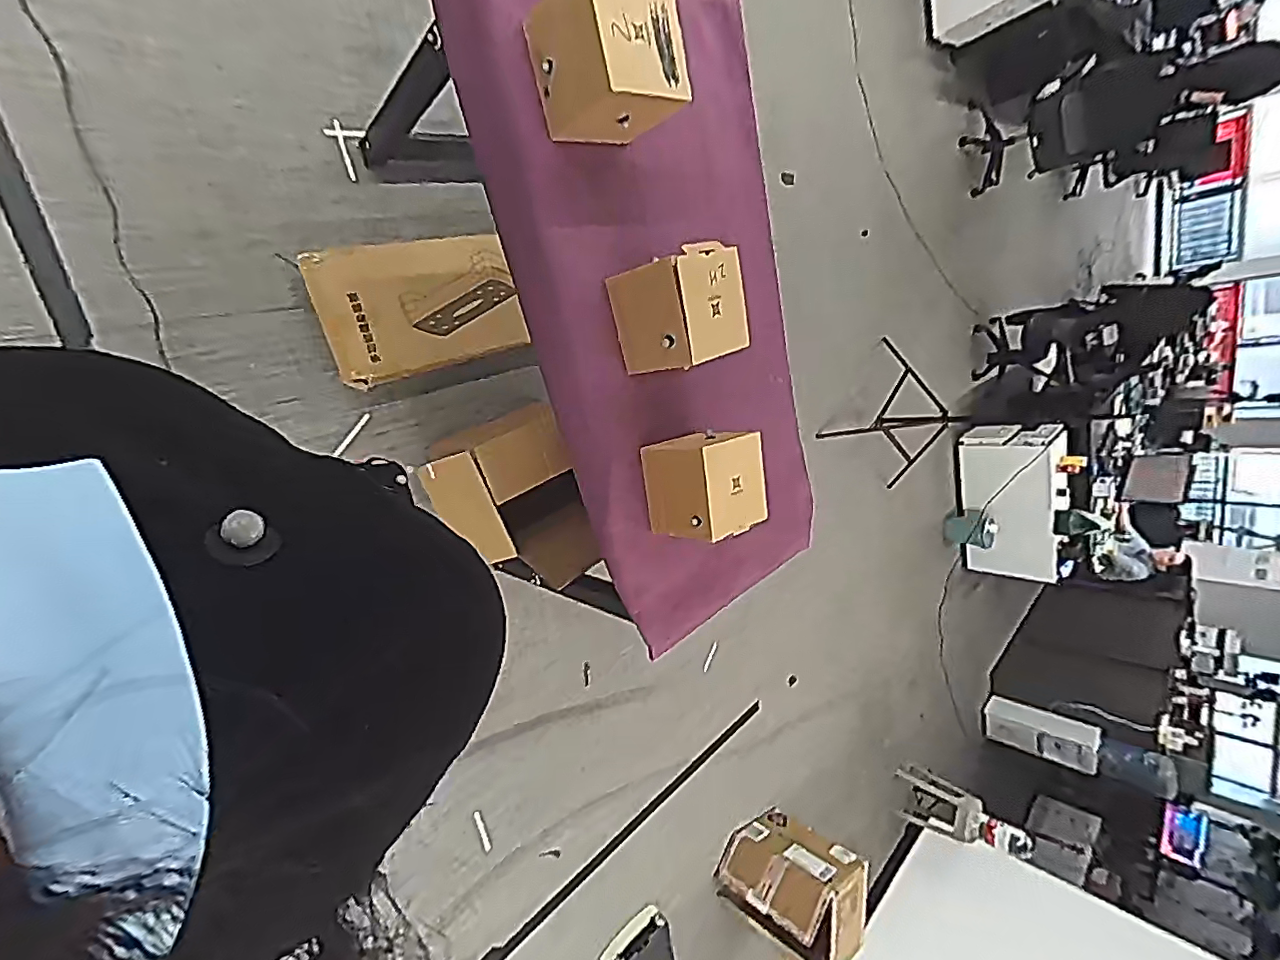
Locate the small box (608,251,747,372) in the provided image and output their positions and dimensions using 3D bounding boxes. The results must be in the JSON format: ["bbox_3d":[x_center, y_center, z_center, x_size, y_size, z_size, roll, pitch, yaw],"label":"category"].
[{"bbox_3d":[0.067,-0.298,0.977,0.168,0.176,0.179,-27,110,-39],"label":"small box"}]

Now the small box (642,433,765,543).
[{"bbox_3d":[0.120,0.008,1.049,0.168,0.176,0.179,-17,105,-39],"label":"small box"}]
